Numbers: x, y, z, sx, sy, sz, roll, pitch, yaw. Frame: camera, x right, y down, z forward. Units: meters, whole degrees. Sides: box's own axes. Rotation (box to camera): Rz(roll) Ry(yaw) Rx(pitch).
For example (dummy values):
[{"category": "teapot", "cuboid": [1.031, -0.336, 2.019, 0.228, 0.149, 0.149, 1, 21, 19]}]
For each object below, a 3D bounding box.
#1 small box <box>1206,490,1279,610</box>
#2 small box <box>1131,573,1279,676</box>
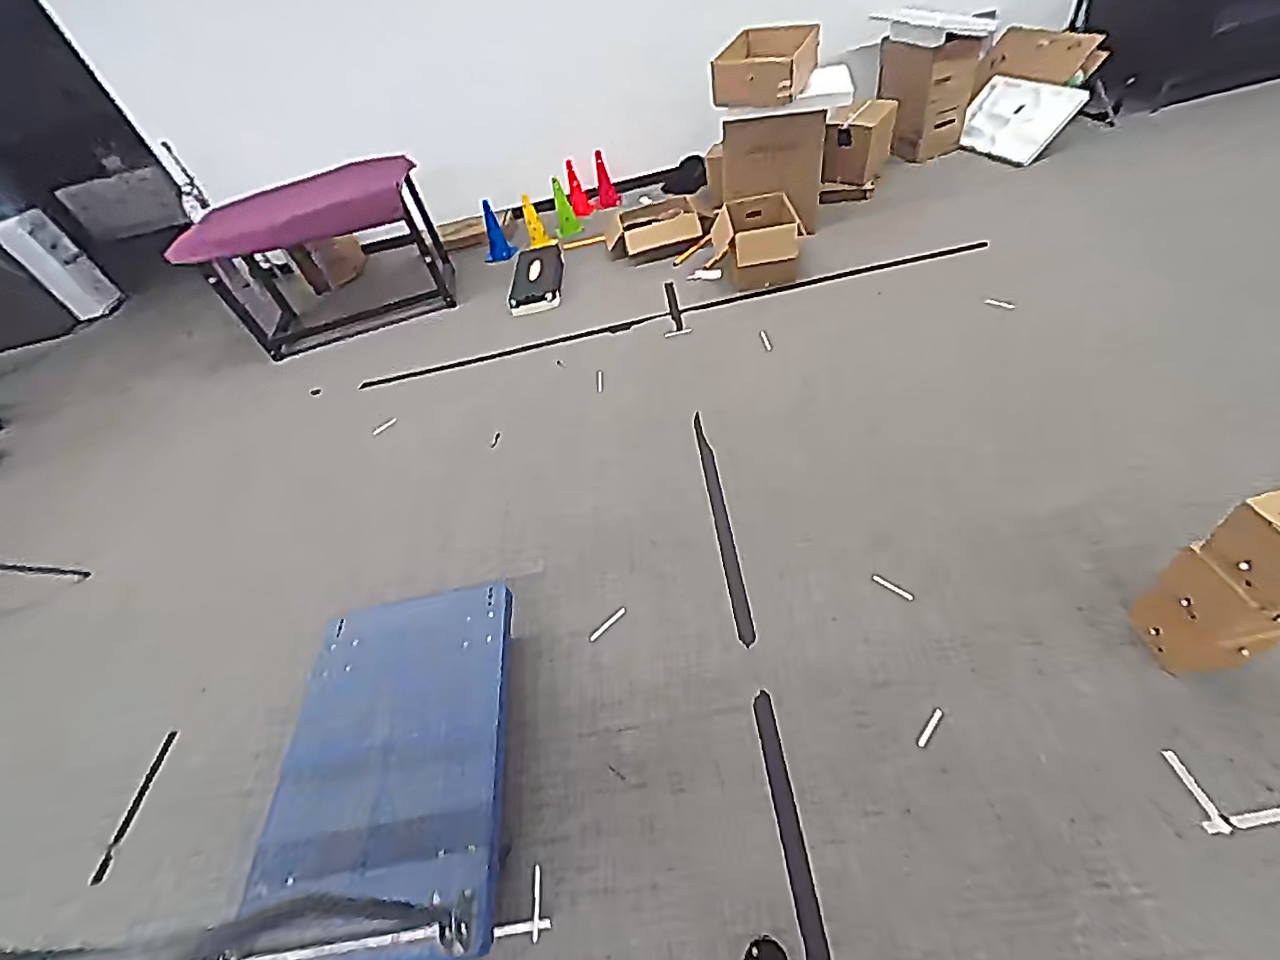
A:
[{"category": "small box", "cuboid": [1.295, 0.128, 1.057, 0.179, 0.176, 0.168, -16, 45, 2]}, {"category": "small box", "cuboid": [1.353, 0.348, 1.296, 0.179, 0.176, 0.168, -13, 46, 4]}]
